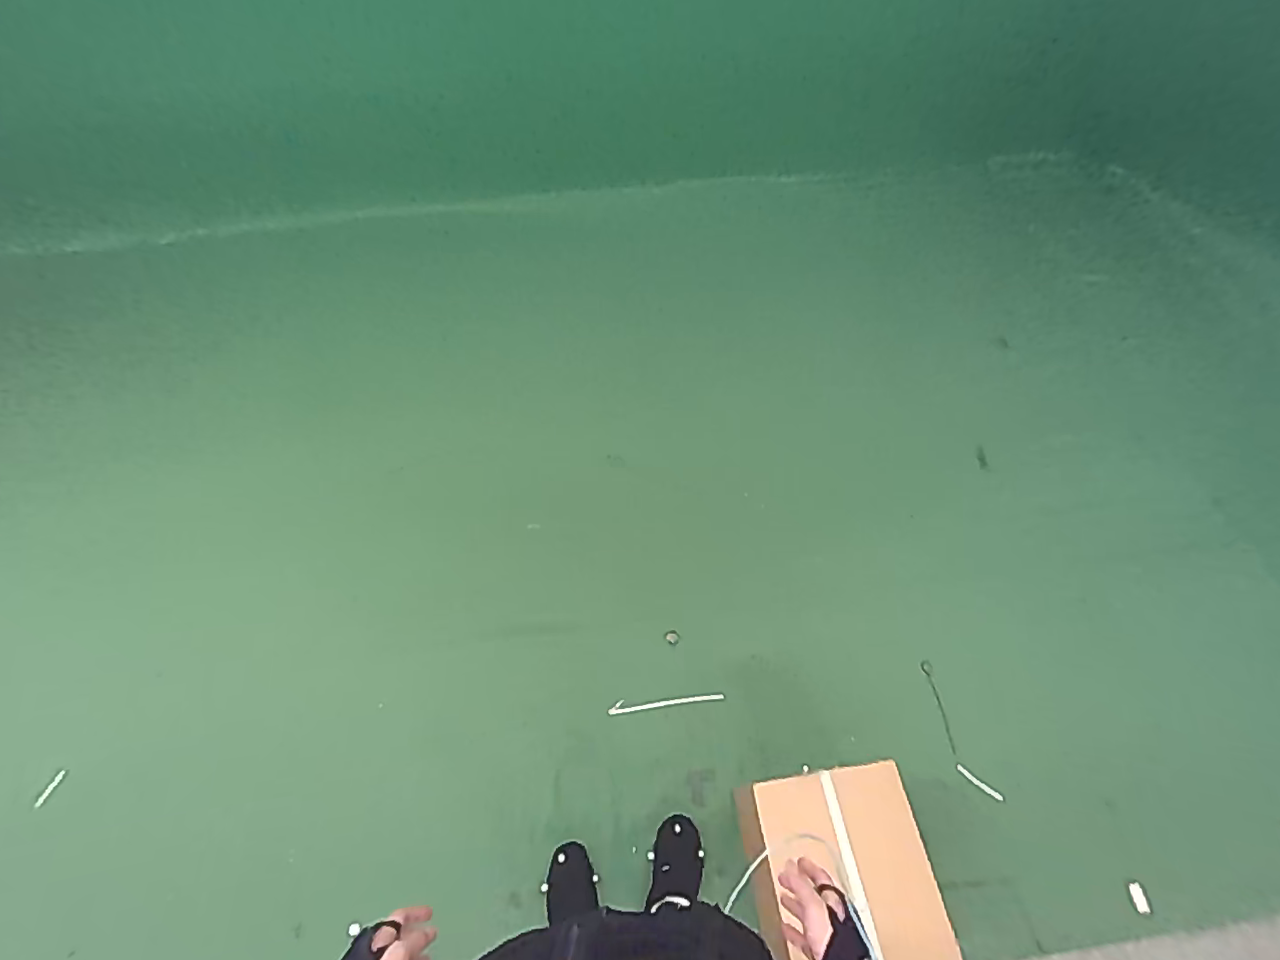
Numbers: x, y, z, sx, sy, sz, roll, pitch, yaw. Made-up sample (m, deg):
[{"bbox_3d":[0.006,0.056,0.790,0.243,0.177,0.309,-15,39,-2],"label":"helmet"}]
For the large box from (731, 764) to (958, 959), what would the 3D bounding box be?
[{"bbox_3d":[0.413,0.871,1.173,0.320,0.320,0.408,-8,60,-4],"label":"large box"}]
